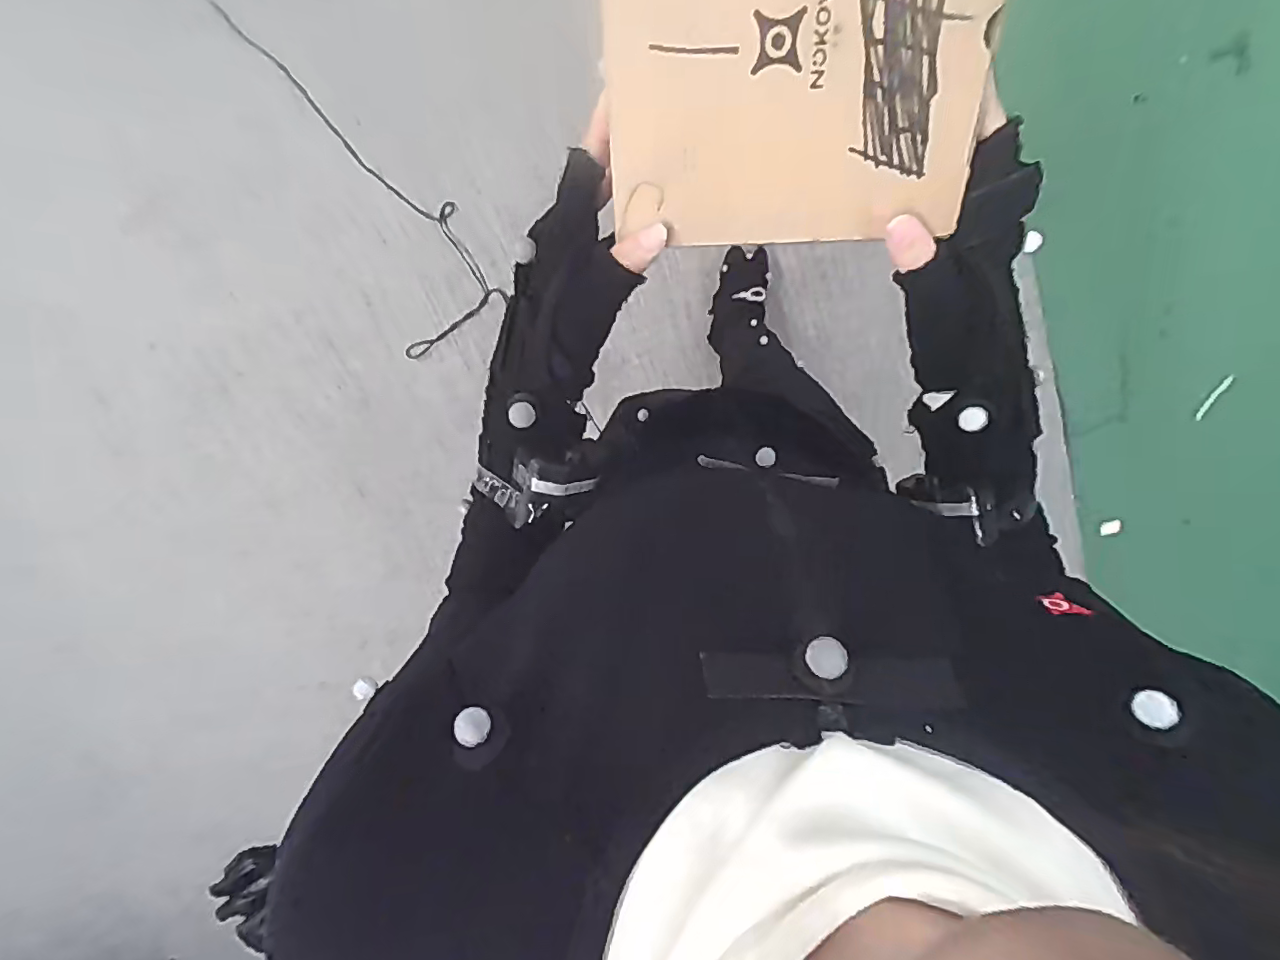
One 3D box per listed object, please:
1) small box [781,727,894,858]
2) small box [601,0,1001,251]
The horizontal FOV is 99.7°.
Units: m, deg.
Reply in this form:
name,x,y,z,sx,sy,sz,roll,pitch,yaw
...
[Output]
name,x,y,z,sx,sy,sz,roll,pitch,yaw
small box,0.431,0.683,1.205,0.168,0.176,0.179,-22,102,9
small box,0.075,-0.237,0.313,0.179,0.176,0.168,0,123,5
